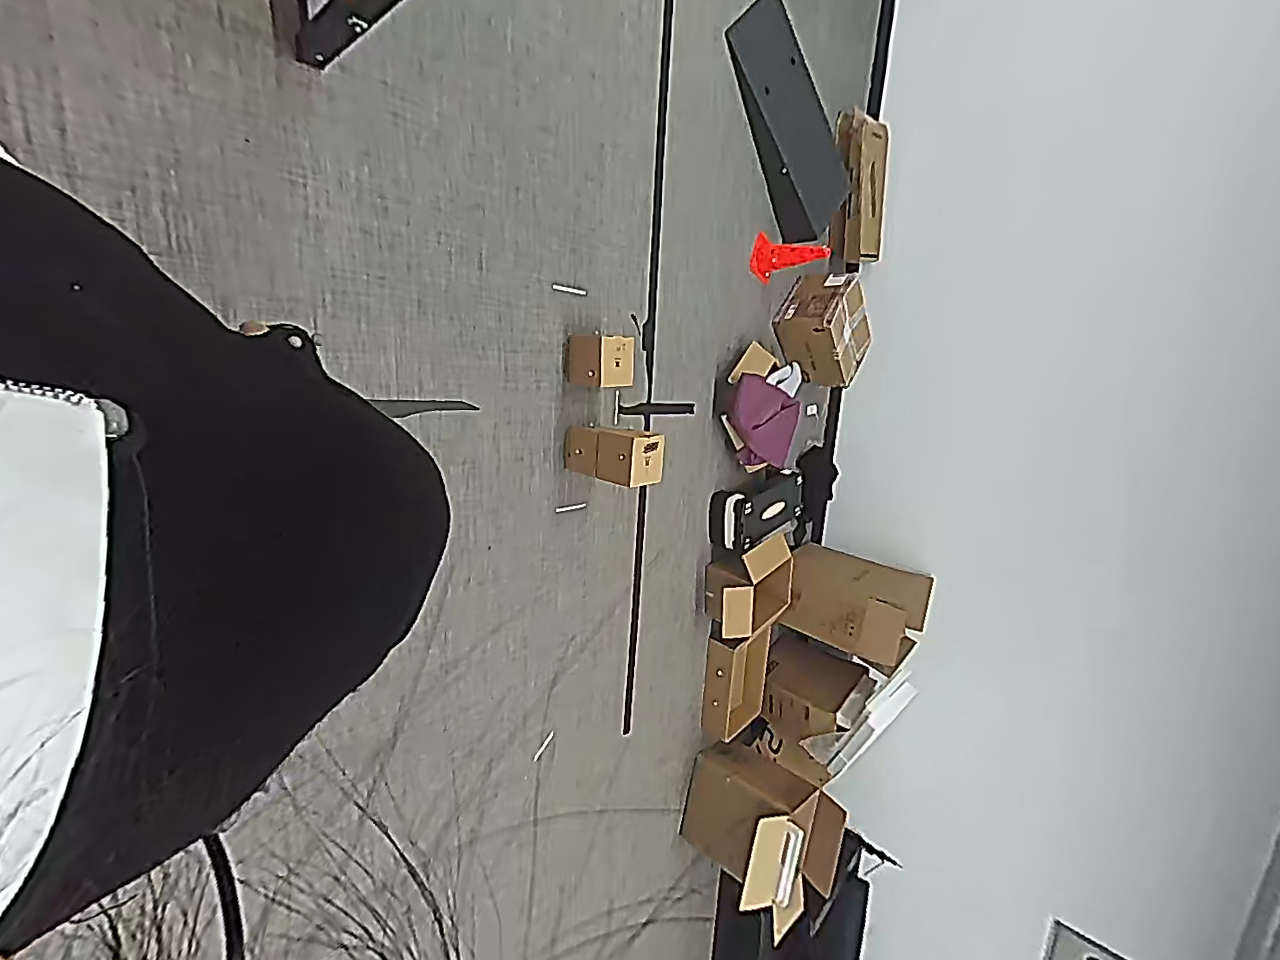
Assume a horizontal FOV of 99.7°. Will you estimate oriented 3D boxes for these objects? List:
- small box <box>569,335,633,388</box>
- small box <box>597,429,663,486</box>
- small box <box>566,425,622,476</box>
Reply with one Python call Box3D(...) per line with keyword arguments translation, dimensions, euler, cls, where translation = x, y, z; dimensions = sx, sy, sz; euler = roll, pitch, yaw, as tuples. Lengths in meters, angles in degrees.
Box3D(translation=(-0.143, -0.431, 1.953), dimensions=(0.168, 0.176, 0.179), euler=(-14, 111, -47), cls="small box")
Box3D(translation=(-0.038, -0.085, 1.923), dimensions=(0.168, 0.176, 0.179), euler=(-10, 109, -47), cls="small box")
Box3D(translation=(-0.161, -0.112, 2.030), dimensions=(0.179, 0.176, 0.168), euler=(-7, 107, -47), cls="small box")
